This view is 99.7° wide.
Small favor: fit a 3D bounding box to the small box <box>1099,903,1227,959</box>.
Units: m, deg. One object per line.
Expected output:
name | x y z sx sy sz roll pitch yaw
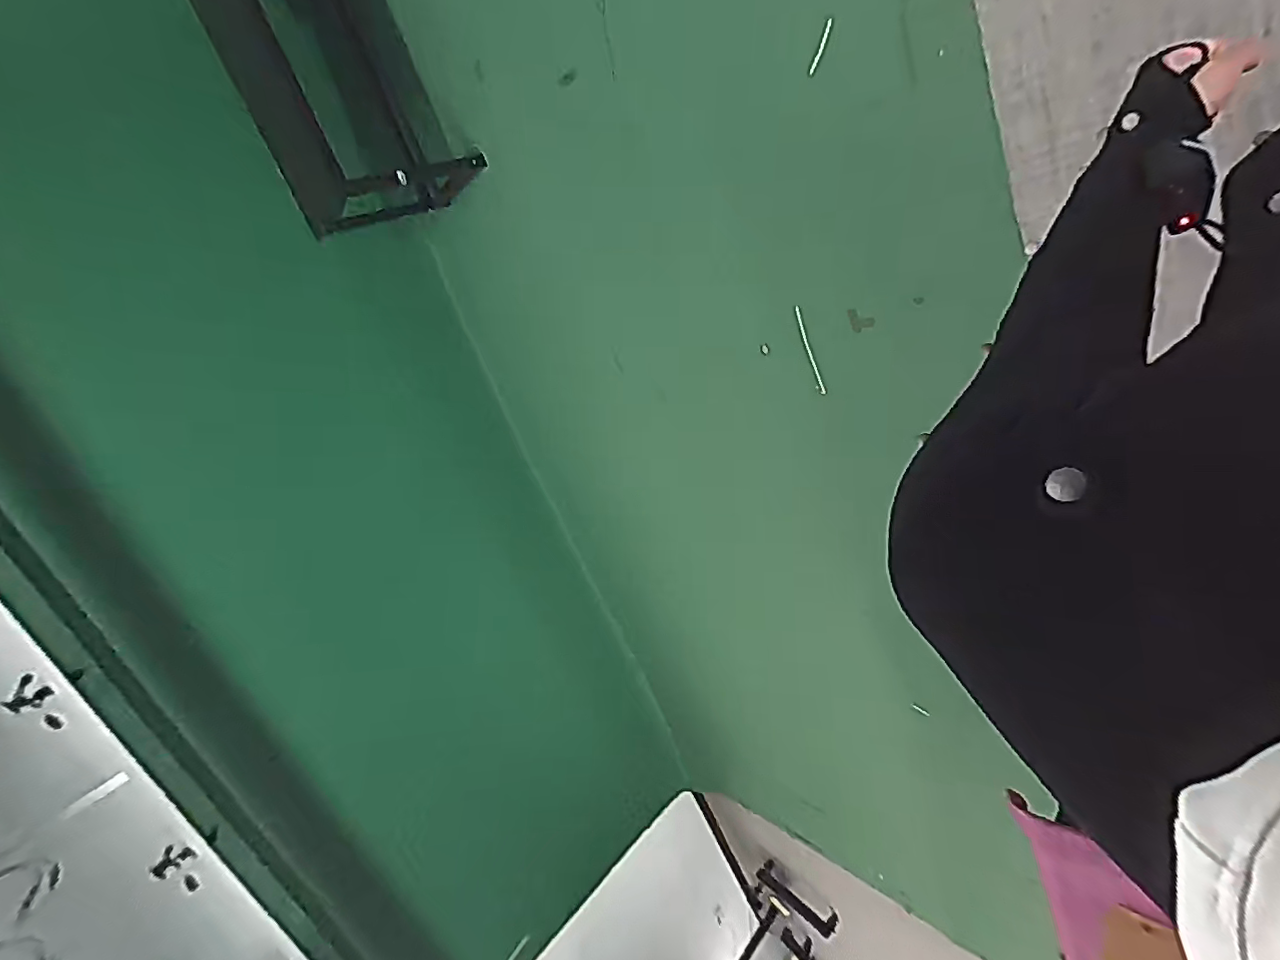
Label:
small box | 1.010 0.982 1.038 0.168 0.176 0.179 -3 118 52
